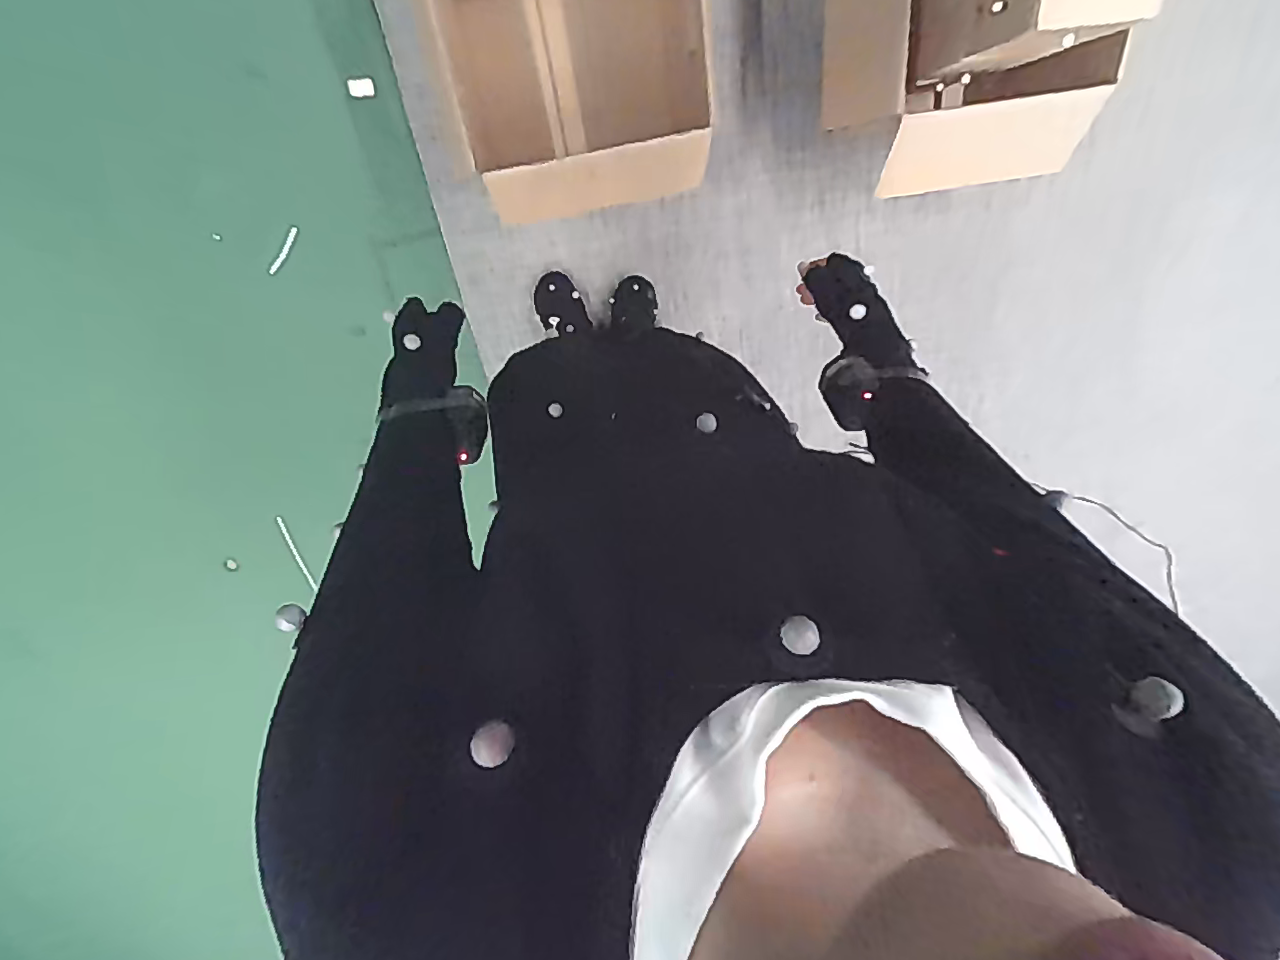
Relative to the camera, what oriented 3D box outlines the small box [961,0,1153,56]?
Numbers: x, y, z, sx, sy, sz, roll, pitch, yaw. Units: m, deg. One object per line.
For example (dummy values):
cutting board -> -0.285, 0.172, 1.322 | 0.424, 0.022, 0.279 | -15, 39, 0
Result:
small box -> 0.603, -0.738, 0.779 | 0.179, 0.176, 0.168 | -9, 118, -2
